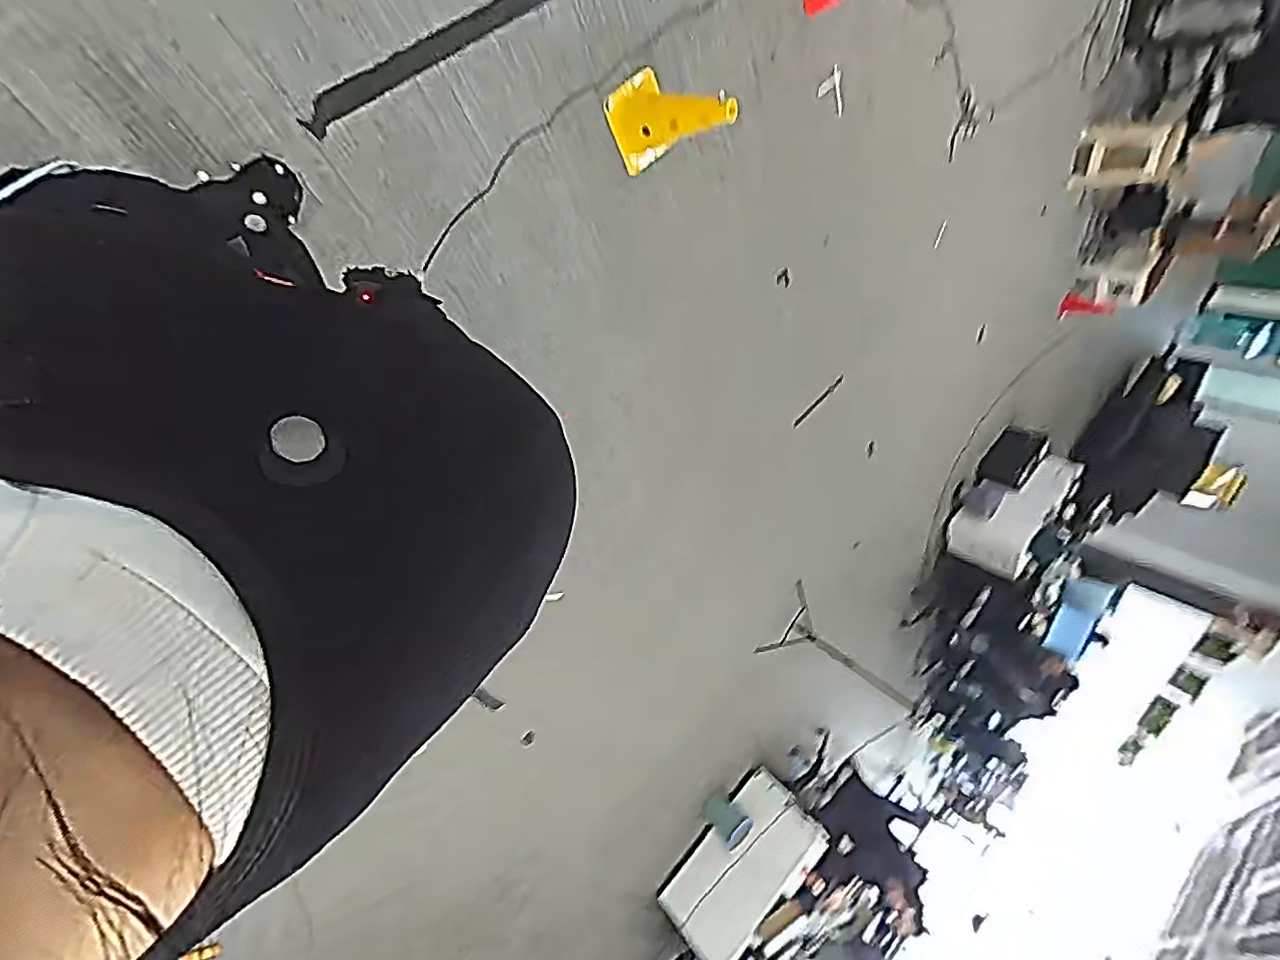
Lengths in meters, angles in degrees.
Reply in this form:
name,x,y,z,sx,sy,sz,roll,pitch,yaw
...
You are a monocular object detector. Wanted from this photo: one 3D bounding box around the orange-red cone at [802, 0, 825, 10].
name,x,y,z,sx,sy,sz,roll,pitch,yaw
orange-red cone,0.679,-1.586,1.610,0.198,0.360,0.199,-40,134,-18
